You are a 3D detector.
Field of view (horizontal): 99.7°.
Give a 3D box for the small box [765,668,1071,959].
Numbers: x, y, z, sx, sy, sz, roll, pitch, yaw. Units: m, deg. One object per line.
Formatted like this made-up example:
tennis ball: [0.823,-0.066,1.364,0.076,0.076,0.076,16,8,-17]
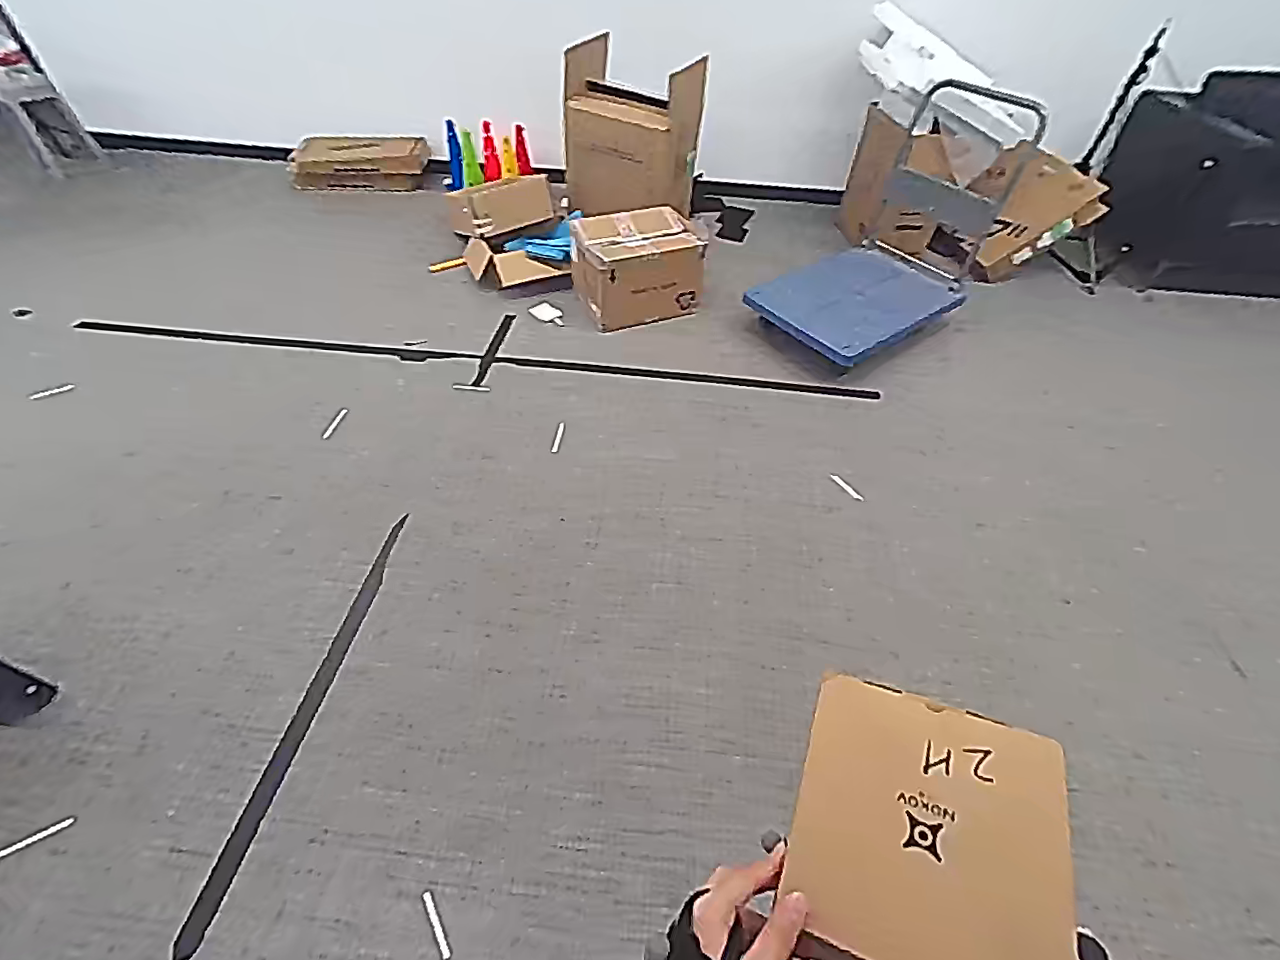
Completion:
small box: [0.199,0.283,0.417,0.168,0.176,0.179,12,50,21]
